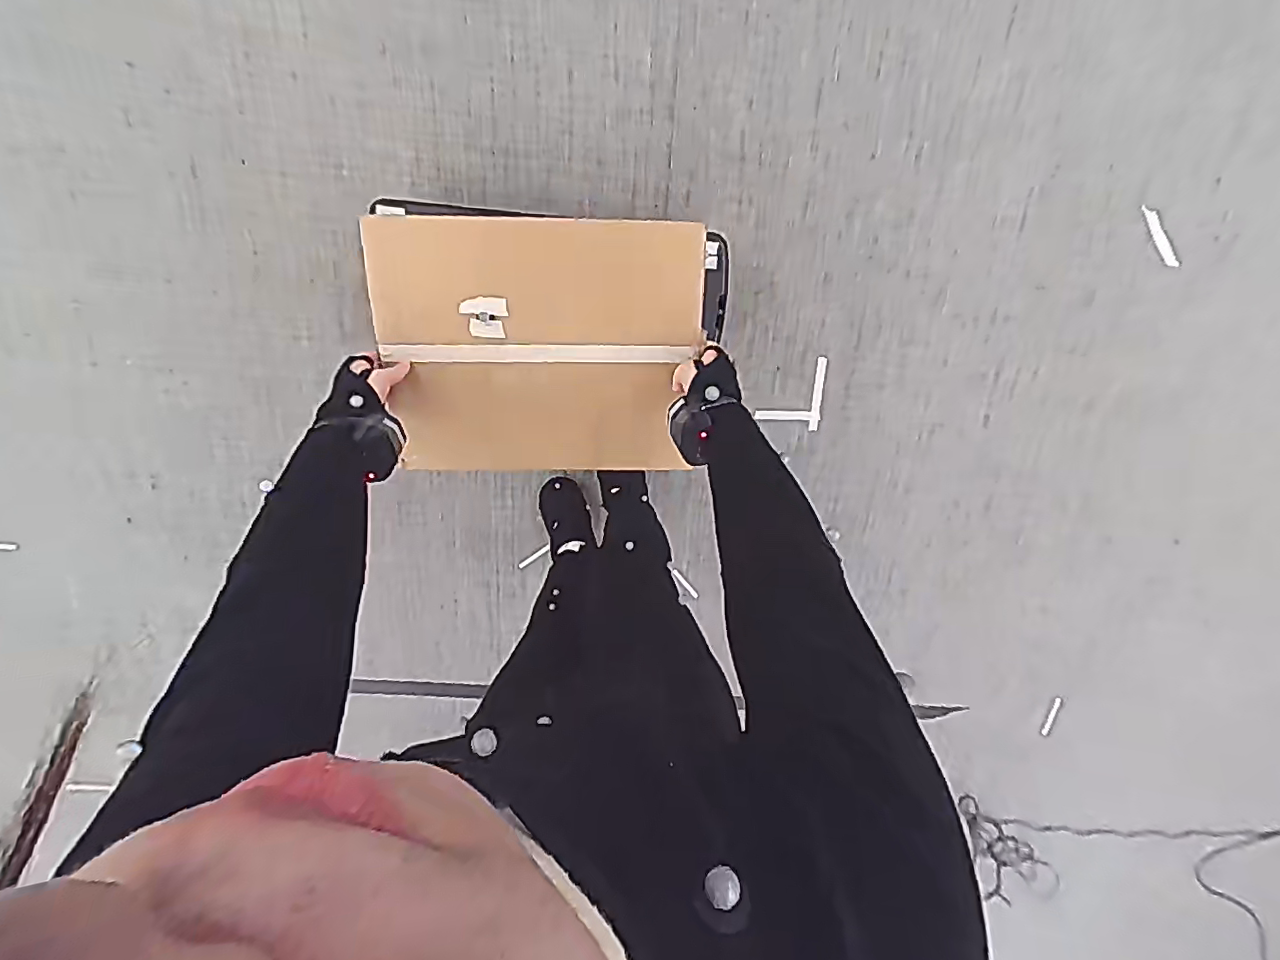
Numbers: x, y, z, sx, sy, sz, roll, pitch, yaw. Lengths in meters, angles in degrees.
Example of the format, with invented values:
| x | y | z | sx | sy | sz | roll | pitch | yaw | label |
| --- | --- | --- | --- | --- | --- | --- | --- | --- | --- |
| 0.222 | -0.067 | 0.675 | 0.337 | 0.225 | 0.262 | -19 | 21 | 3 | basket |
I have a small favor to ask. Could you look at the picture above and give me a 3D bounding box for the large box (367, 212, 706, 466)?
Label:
| x | y | z | sx | sy | sz | roll | pitch | yaw | label |
| --- | --- | --- | --- | --- | --- | --- | --- | --- | --- |
| -0.121 | -0.218 | 0.818 | 0.408 | 0.320 | 0.320 | 0 | 110 | -2 | large box |
